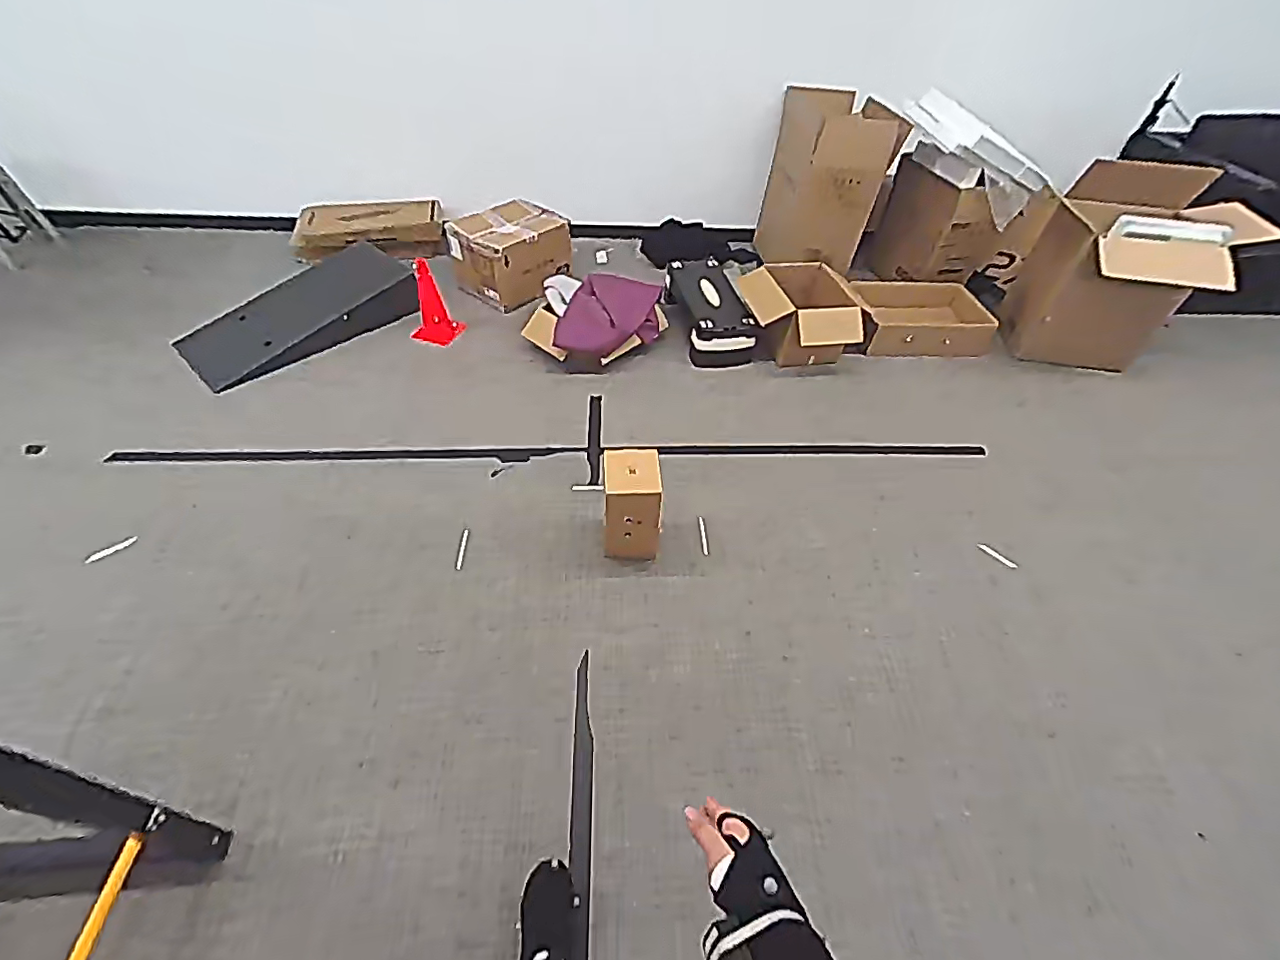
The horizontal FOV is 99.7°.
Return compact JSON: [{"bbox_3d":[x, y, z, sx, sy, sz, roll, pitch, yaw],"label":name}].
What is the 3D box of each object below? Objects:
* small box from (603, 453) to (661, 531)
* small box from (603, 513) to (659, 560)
[{"bbox_3d":[-0.029,0.038,1.651,0.168,0.176,0.179,-3,49,-5],"label":"small box"},{"bbox_3d":[-0.032,0.148,1.770,0.179,0.176,0.168,2,48,-3],"label":"small box"}]
